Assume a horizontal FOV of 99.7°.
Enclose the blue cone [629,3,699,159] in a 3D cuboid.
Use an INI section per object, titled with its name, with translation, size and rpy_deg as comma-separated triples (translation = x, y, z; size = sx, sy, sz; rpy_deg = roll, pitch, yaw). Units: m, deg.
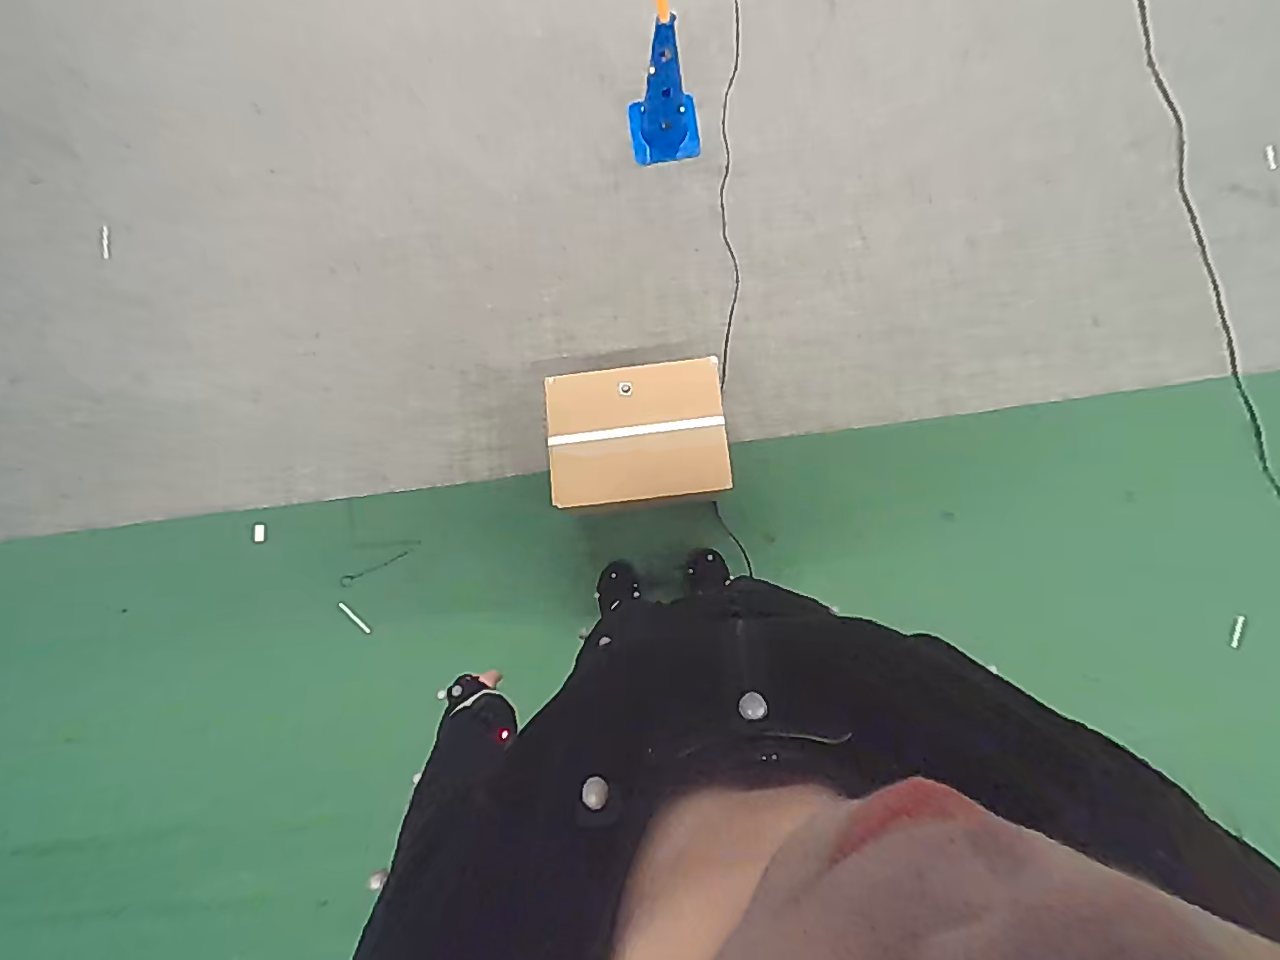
[blue cone]
translation = 0.062, -1.064, 1.435
size = 0.193, 0.380, 0.192
rpy_deg = -11, 84, 3
